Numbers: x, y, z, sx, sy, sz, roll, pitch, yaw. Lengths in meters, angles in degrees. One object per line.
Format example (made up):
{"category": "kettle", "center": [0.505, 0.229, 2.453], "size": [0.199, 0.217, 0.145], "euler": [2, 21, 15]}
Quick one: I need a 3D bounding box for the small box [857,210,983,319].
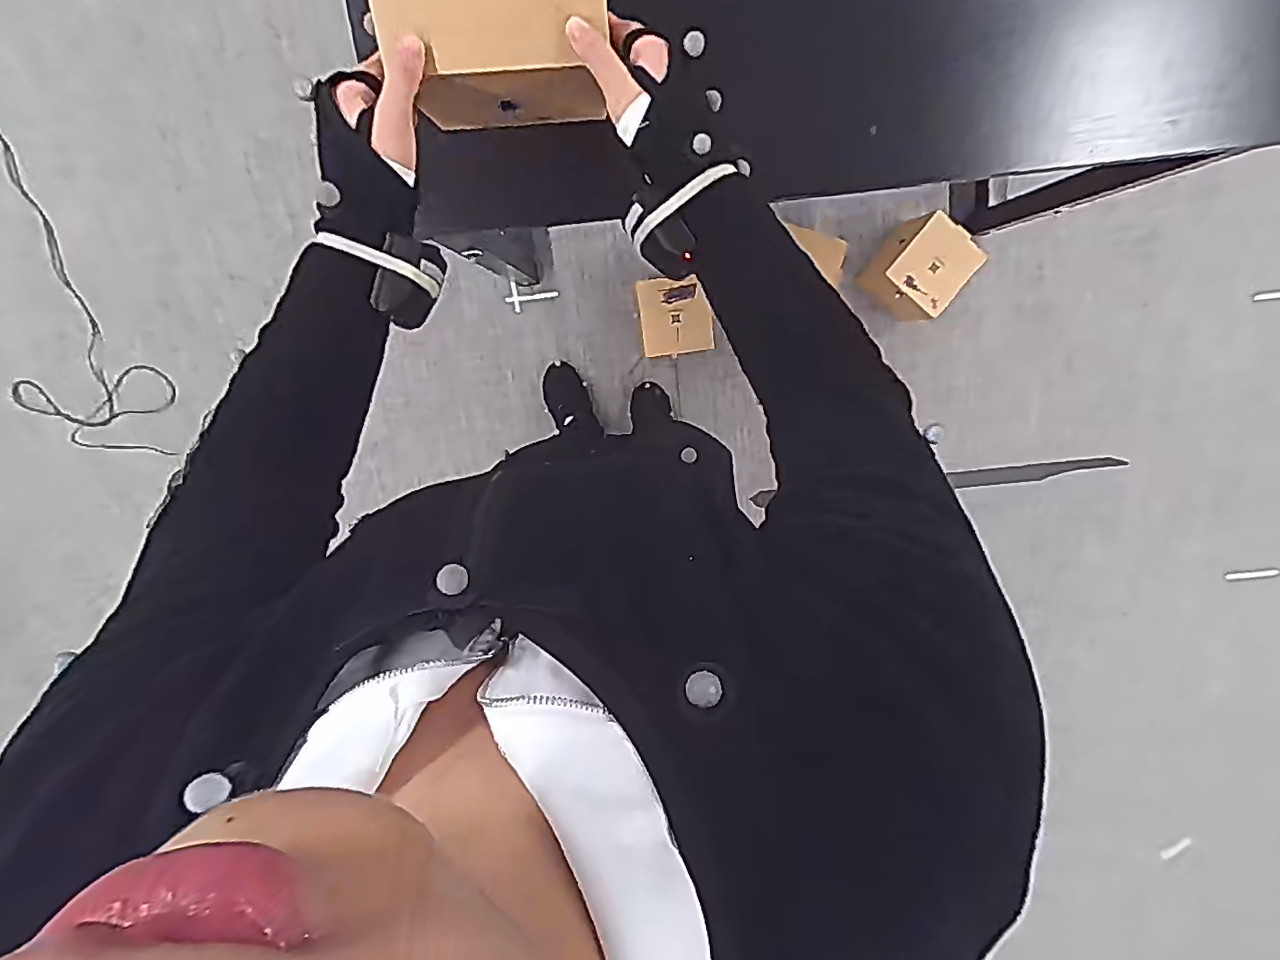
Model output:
{"category": "small box", "center": [0.665, -0.510, 1.306], "size": [0.168, 0.176, 0.179], "euler": [36, 101, -9]}

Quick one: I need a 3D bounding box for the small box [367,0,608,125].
{"category": "small box", "center": [-0.114, -0.401, 0.431], "size": [0.168, 0.176, 0.179], "euler": [-6, 112, -3]}

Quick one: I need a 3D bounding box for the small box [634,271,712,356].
{"category": "small box", "center": [0.077, -0.403, 1.324], "size": [0.168, 0.176, 0.179], "euler": [-7, 106, 1]}
